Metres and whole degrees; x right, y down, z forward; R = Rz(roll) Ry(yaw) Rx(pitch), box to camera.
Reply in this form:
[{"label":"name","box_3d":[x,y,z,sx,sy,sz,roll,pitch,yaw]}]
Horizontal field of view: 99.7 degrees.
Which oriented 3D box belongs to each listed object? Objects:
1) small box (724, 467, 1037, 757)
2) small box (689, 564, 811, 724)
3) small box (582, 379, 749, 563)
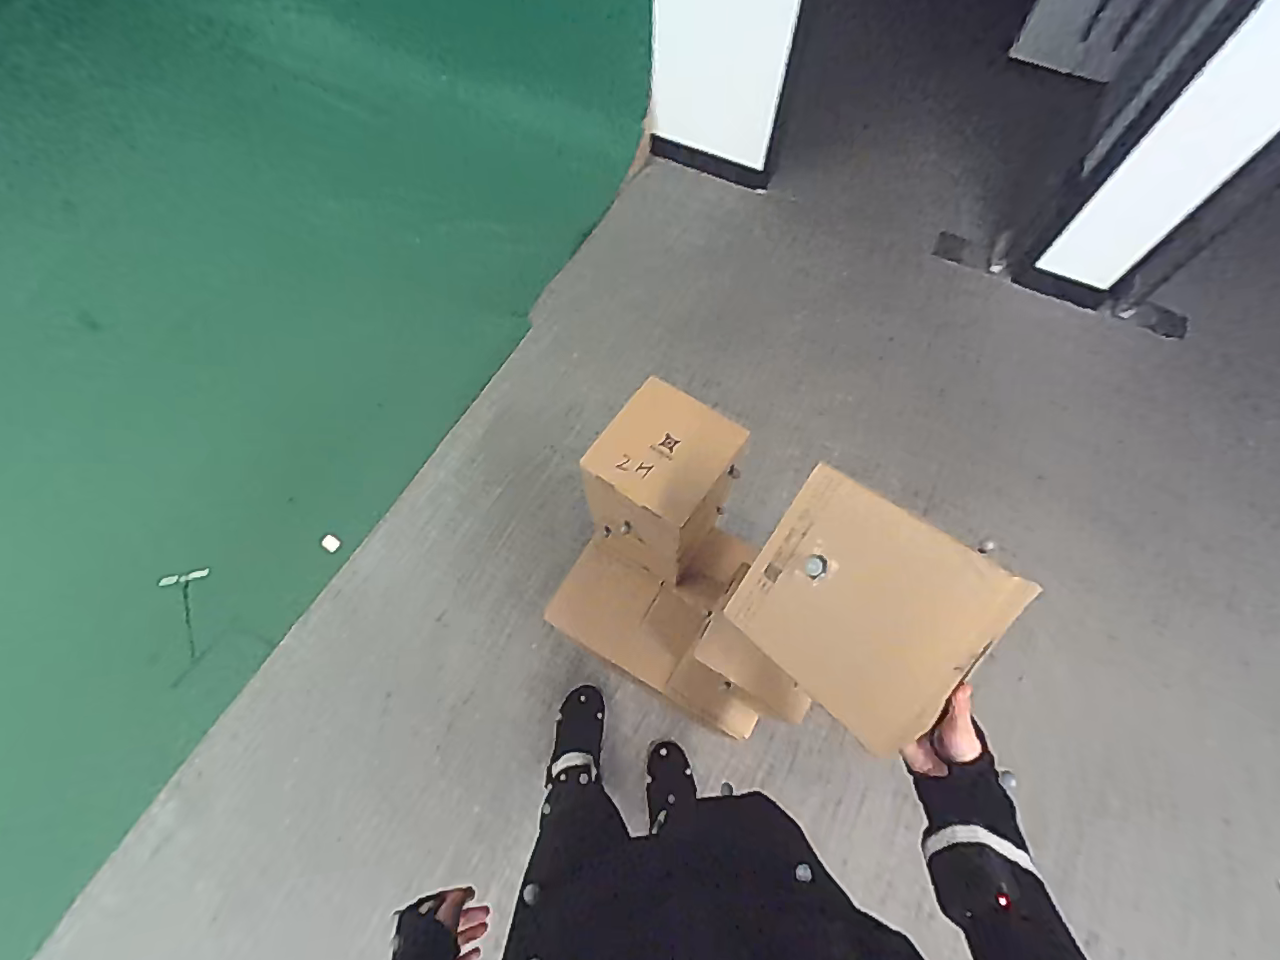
[{"label":"small box","box_3d":[0.212,0.105,0.485,0.176,0.179,0.168,39,106,39]},{"label":"small box","box_3d":[0.189,0.262,0.853,0.179,0.176,0.168,30,72,14]},{"label":"small box","box_3d":[0.036,-0.007,0.798,0.168,0.176,0.179,32,71,15]}]
